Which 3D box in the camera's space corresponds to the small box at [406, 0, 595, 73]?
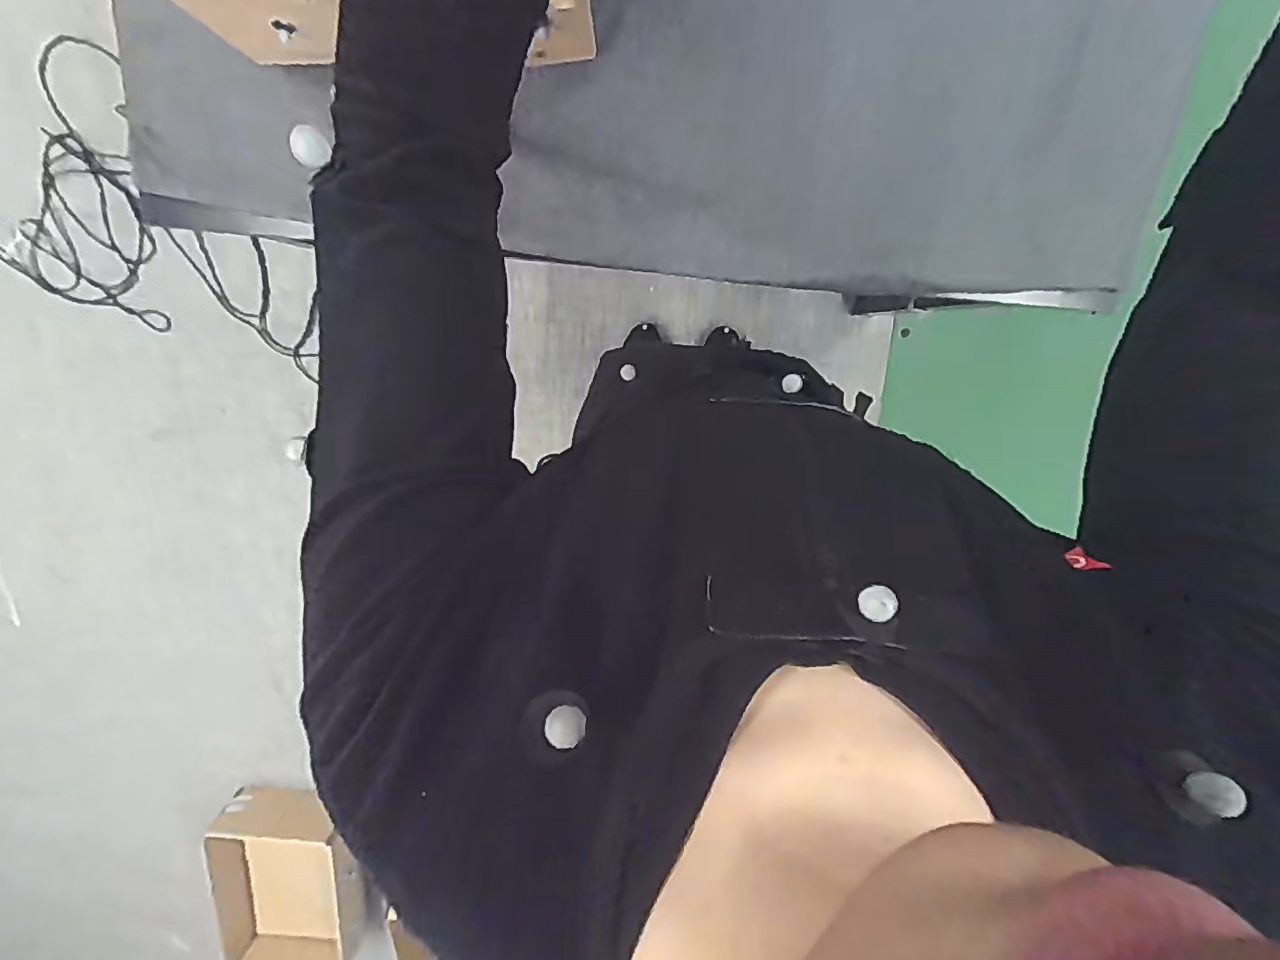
[{"bbox_3d":[-0.138,-0.524,0.517,0.168,0.176,0.179,-6,104,1],"label":"small box"}]
